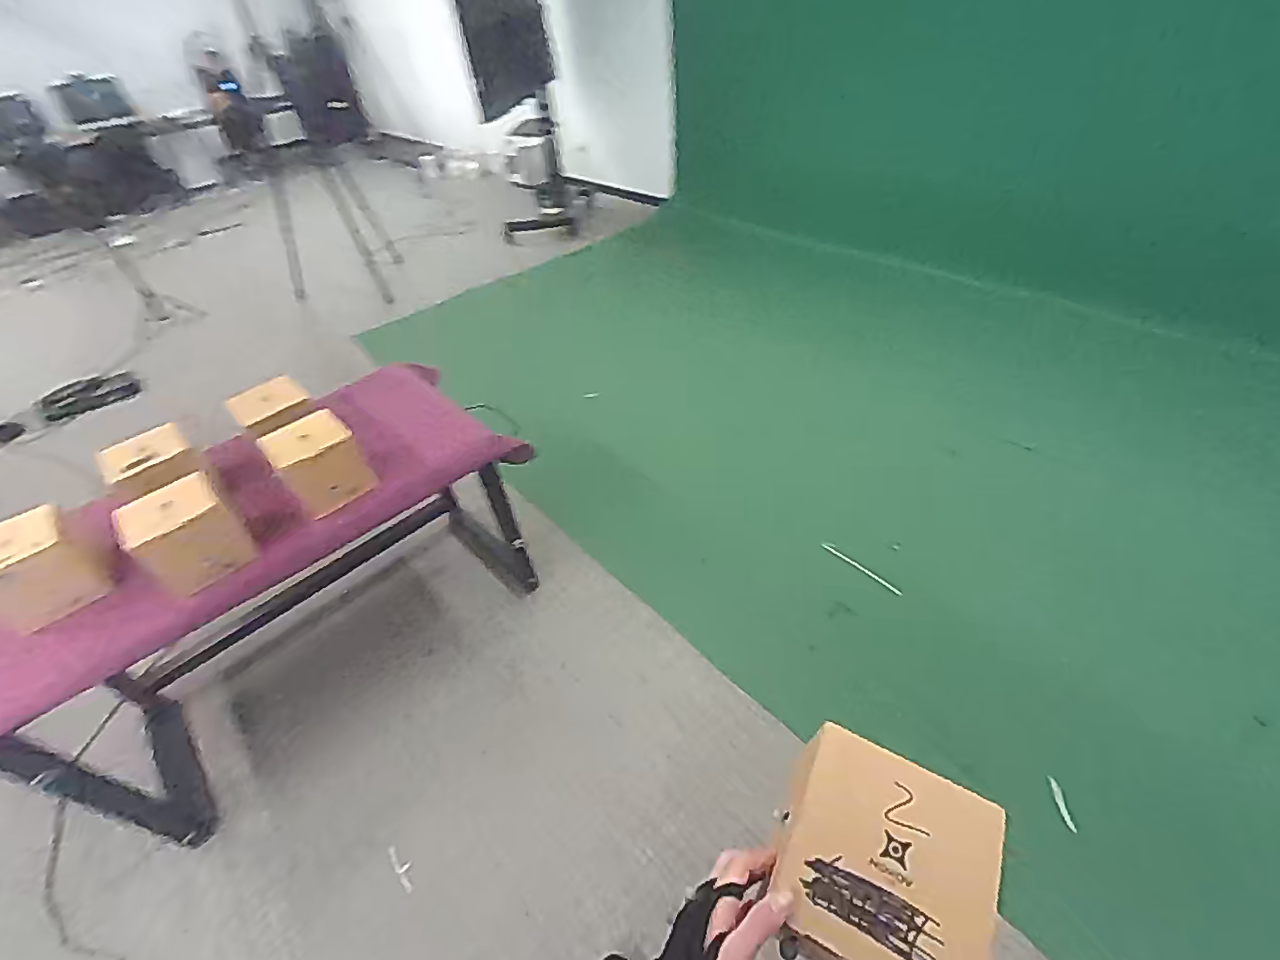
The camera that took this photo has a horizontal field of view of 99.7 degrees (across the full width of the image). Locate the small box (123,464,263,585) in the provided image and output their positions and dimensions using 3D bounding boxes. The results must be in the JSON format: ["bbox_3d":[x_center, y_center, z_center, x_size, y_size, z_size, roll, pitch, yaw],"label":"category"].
[{"bbox_3d":[-0.988,0.101,1.202,0.168,0.176,0.179,-36,50,-28],"label":"small box"}]

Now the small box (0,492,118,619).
[{"bbox_3d":[-1.285,0.164,1.165,0.168,0.176,0.179,-35,50,-26],"label":"small box"}]

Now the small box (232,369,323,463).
[{"bbox_3d":[-0.974,-0.174,1.494,0.168,0.176,0.179,-37,53,-27],"label":"small box"}]

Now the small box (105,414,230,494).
[{"bbox_3d":[-1.183,-0.031,1.363,0.168,0.176,0.179,-36,51,-28],"label":"small box"}]

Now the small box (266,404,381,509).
[{"bbox_3d":[-0.786,-0.057,1.351,0.168,0.176,0.179,-36,51,-28],"label":"small box"}]
